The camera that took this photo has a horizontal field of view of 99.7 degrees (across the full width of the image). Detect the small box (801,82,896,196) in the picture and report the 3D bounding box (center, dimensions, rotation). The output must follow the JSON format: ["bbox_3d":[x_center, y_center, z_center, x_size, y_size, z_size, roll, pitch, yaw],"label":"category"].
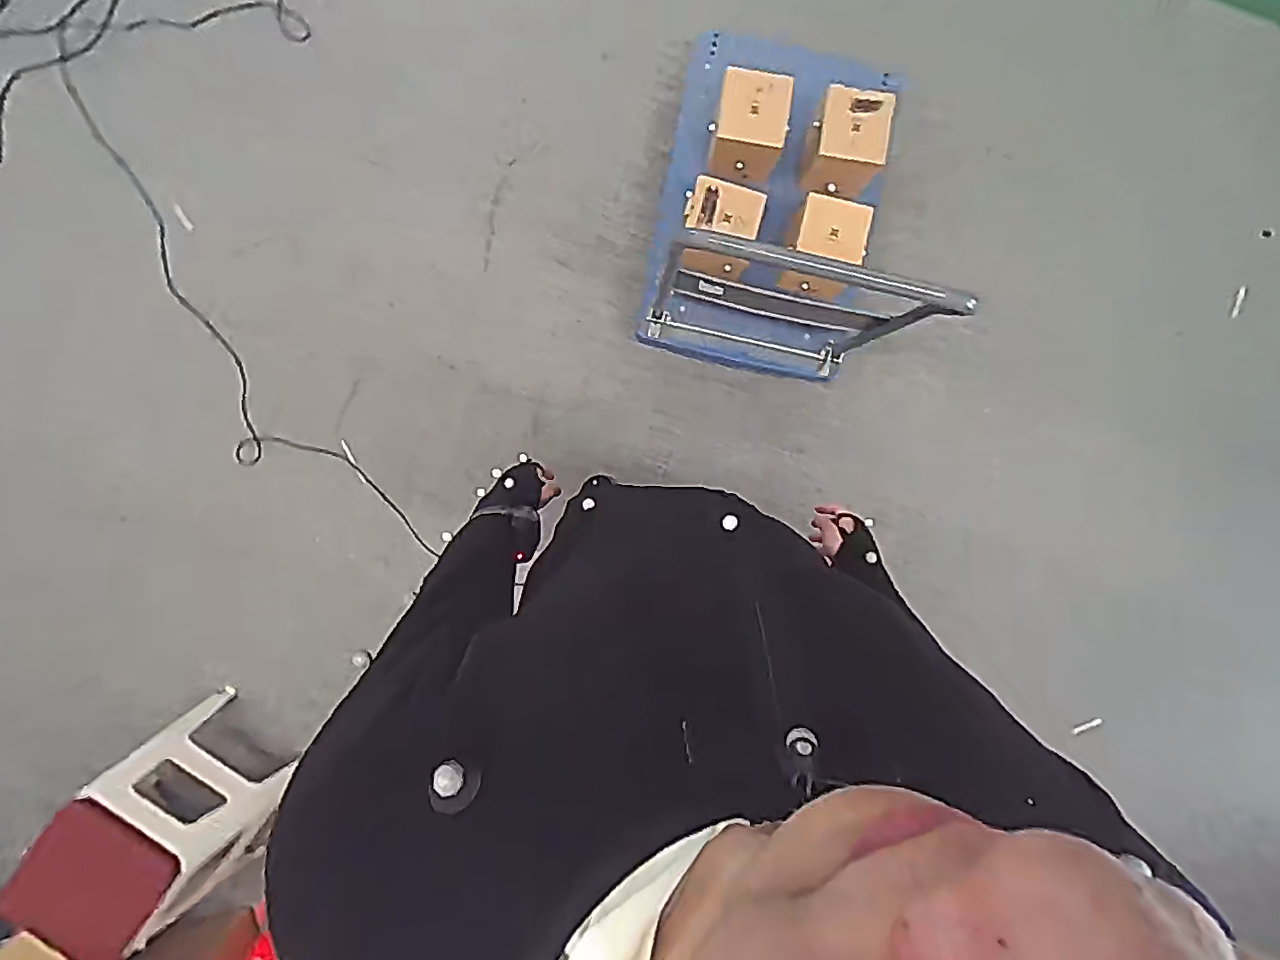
[{"bbox_3d":[0.526,-0.865,1.385,0.168,0.176,0.179,8,92,-1],"label":"small box"}]

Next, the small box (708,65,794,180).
[{"bbox_3d":[0.275,-0.900,1.378,0.168,0.176,0.179,9,91,-2],"label":"small box"}]

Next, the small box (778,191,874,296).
[{"bbox_3d":[0.470,-0.600,1.390,0.168,0.176,0.179,13,91,-2],"label":"small box"}]
